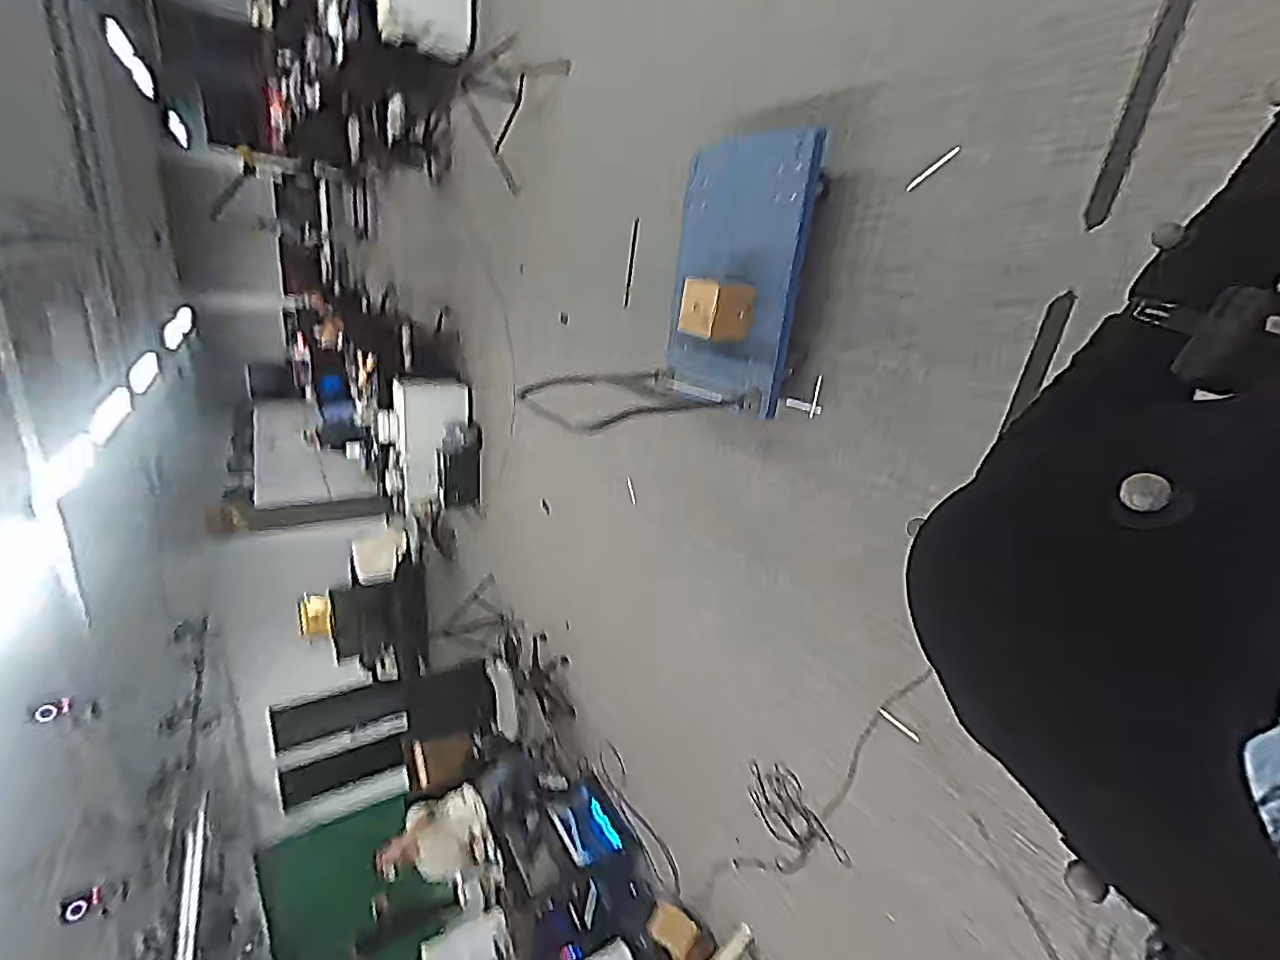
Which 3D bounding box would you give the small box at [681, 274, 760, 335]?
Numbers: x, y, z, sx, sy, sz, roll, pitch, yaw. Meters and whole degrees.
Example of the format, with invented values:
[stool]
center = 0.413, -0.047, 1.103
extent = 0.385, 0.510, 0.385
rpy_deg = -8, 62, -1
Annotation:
[small box]
center = 0.266, -0.581, 1.796
extent = 0.179, 0.176, 0.168
rpy_deg = 36, 125, 48
